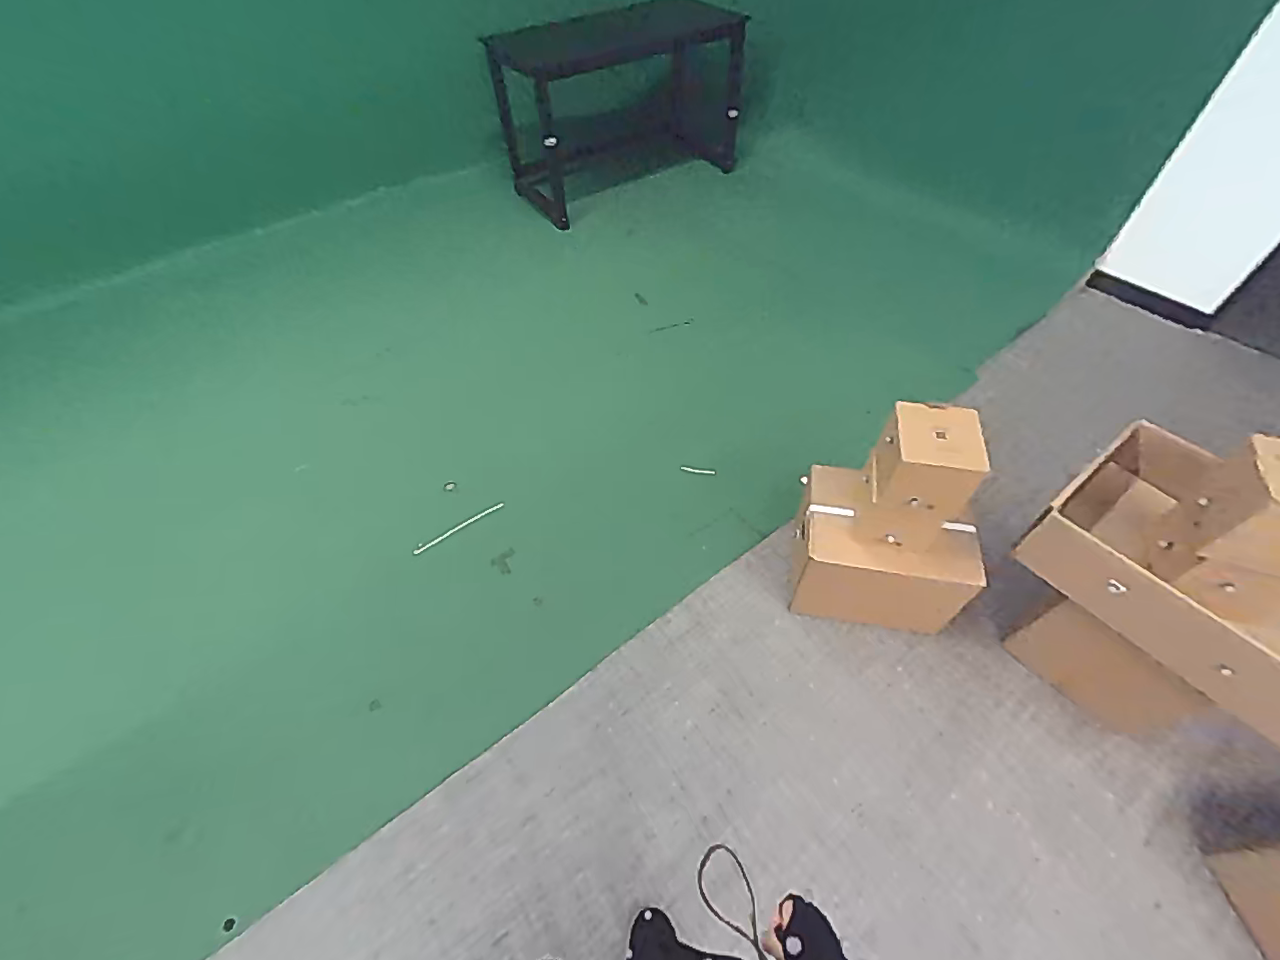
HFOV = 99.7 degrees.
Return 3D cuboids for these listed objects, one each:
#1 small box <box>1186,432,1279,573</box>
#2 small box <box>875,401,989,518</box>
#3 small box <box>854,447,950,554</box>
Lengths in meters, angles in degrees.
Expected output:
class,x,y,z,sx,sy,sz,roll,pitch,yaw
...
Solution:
class,x,y,z,sx,sy,sz,roll,pitch,yaw
small box,1.122,0.048,0.939,0.179,0.176,0.168,17,54,17
small box,0.620,-0.044,1.172,0.168,0.176,0.179,8,53,10
small box,0.623,0.051,1.304,0.168,0.176,0.179,11,54,11
